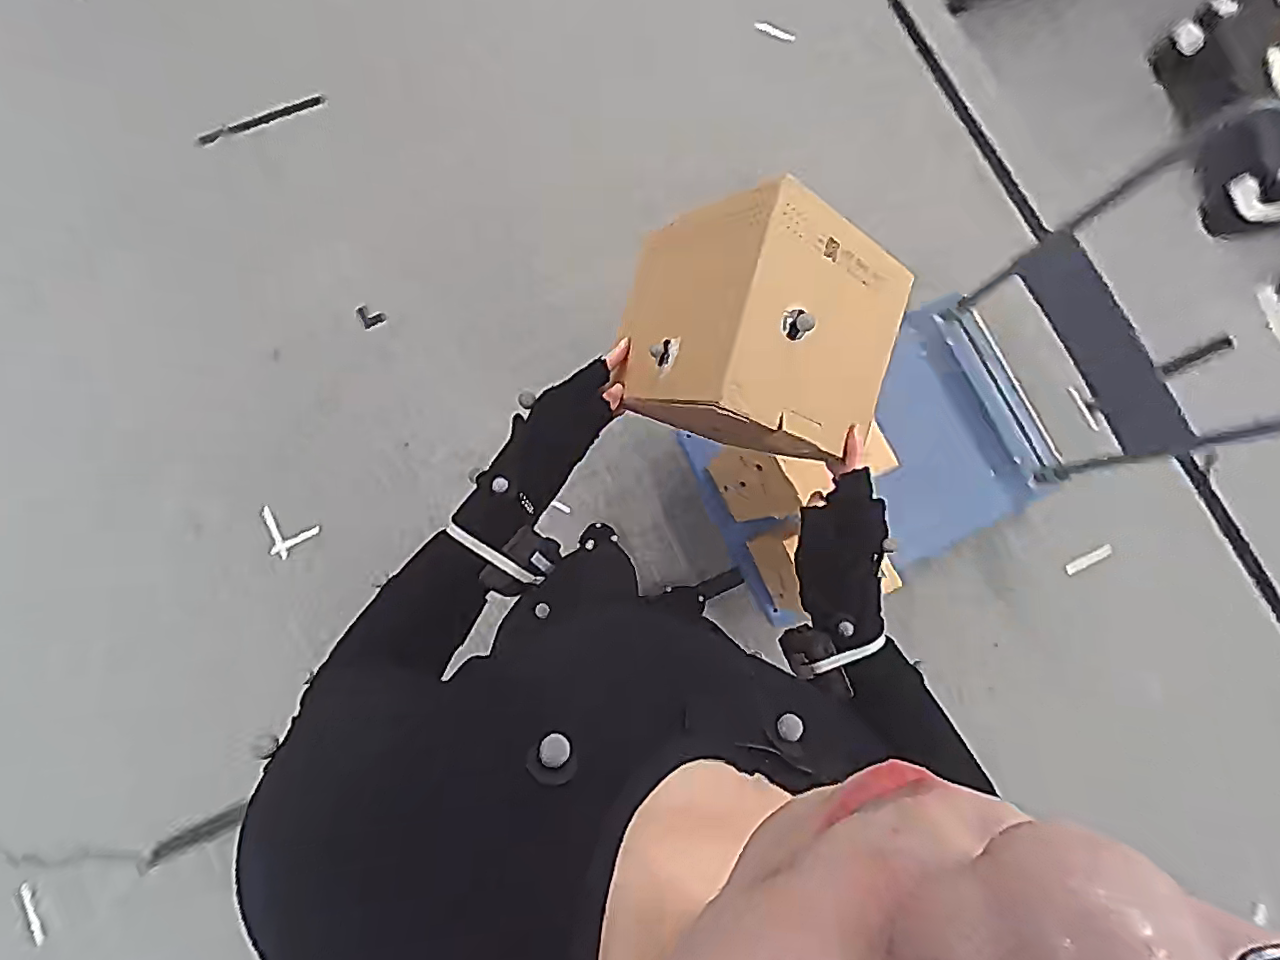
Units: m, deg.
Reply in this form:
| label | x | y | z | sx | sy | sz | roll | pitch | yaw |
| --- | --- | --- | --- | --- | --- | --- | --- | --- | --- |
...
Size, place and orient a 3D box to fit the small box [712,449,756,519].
| label | x | y | z | sx | sy | sz | roll | pitch | yaw |
| --- | --- | --- | --- | --- | --- | --- | --- | --- | --- |
| small box | 0.282 | -0.016 | 1.280 | 0.179 | 0.176 | 0.168 | -26 | 85 | -6 |

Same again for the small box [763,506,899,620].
| label | x | y | z | sx | sy | sz | roll | pitch | yaw |
| --- | --- | --- | --- | --- | --- | --- | --- | --- | --- |
| small box | 0.375 | 0.164 | 1.094 | 0.179 | 0.176 | 0.168 | -23 | 84 | -4 |

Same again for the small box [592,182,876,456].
| label | x | y | z | sx | sy | sz | roll | pitch | yaw |
| --- | --- | --- | --- | --- | --- | --- | --- | --- | --- |
| small box | 0.083 | -0.127 | 0.476 | 0.168 | 0.179 | 0.176 | 14 | 91 | -34 |

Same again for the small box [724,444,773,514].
| label | x | y | z | sx | sy | sz | roll | pitch | yaw |
| --- | --- | --- | --- | --- | --- | --- | --- | --- | --- |
| small box | 0.287 | -0.038 | 1.117 | 0.179 | 0.176 | 0.168 | -28 | 85 | -5 |

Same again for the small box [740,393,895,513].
| label | x | y | z | sx | sy | sz | roll | pitch | yaw |
| --- | --- | --- | --- | --- | --- | --- | --- | --- | --- |
| small box | 0.300 | -0.052 | 0.954 | 0.179 | 0.176 | 0.168 | -26 | 85 | -5 |
